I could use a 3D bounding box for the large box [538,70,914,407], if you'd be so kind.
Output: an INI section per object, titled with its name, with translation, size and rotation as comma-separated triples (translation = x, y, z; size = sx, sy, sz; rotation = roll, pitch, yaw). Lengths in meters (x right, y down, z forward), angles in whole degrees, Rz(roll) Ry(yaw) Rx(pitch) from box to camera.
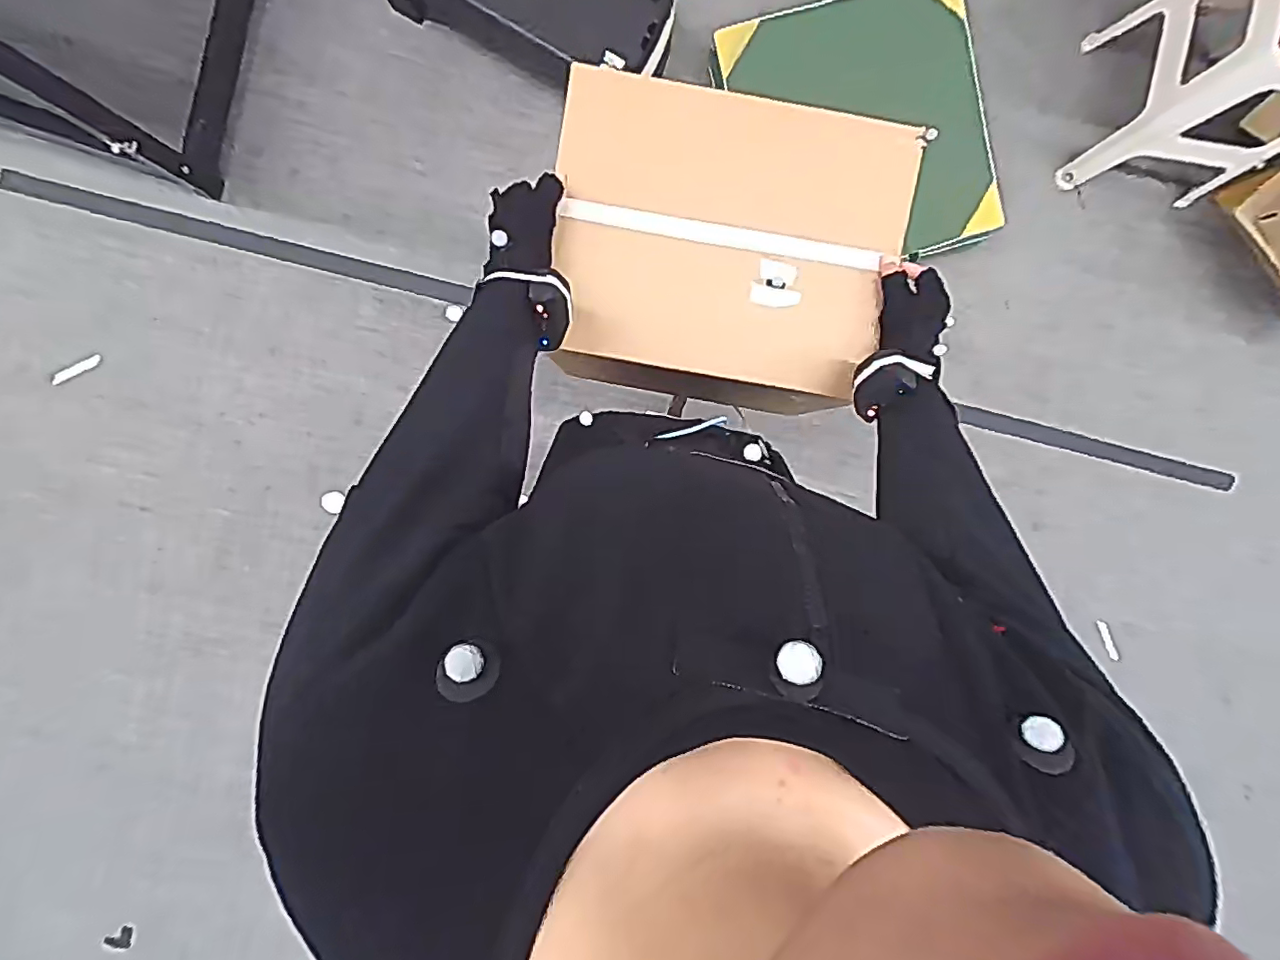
[large box]
translation = 0.094, -0.296, 0.776
size = 0.408, 0.320, 0.320
rotation = 10, 95, -2
